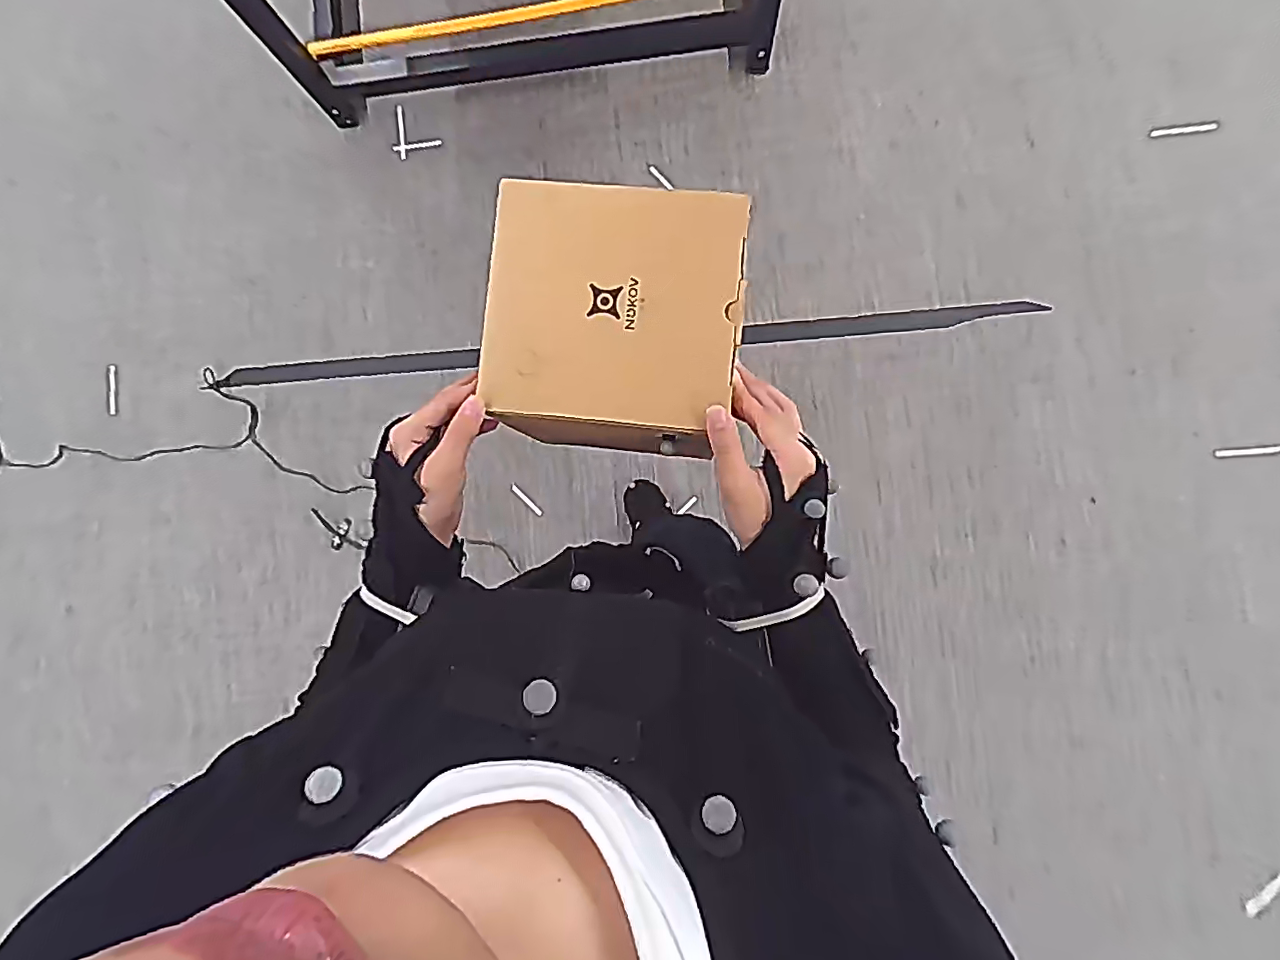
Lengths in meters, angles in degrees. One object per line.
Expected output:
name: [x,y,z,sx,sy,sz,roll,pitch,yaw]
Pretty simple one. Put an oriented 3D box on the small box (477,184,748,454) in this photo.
small box: [-0.015,-0.117,0.454,0.179,0.176,0.168,6,86,3]
